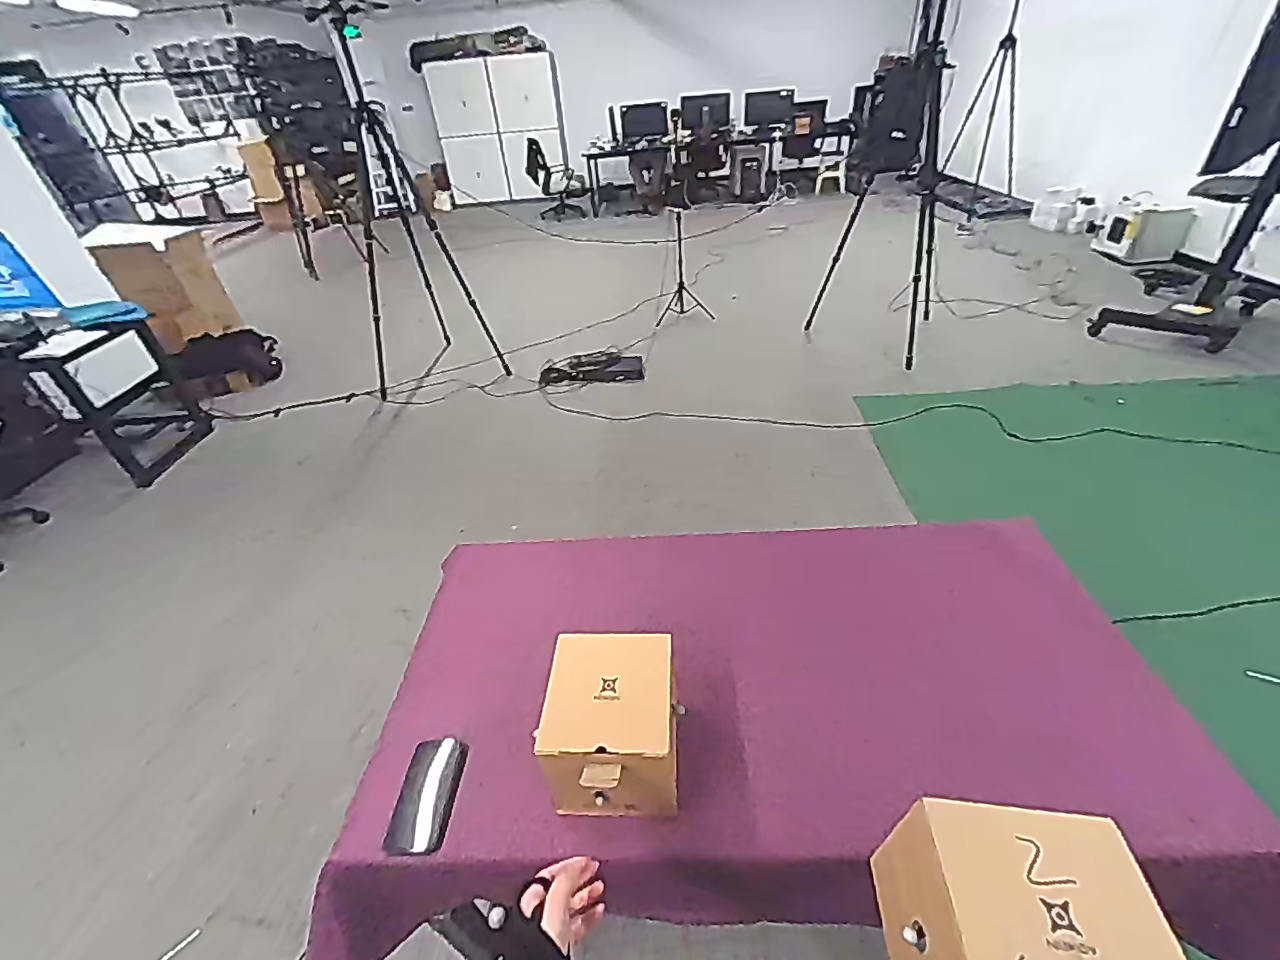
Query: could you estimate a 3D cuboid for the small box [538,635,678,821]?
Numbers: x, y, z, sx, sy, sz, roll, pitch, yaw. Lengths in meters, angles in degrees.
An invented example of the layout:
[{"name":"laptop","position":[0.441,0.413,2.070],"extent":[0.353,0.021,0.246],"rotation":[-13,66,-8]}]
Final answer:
[{"name":"small box","position":[-0.032,0.341,0.755],"extent":[0.168,0.176,0.179],"rotation":[-1,37,5]}]
